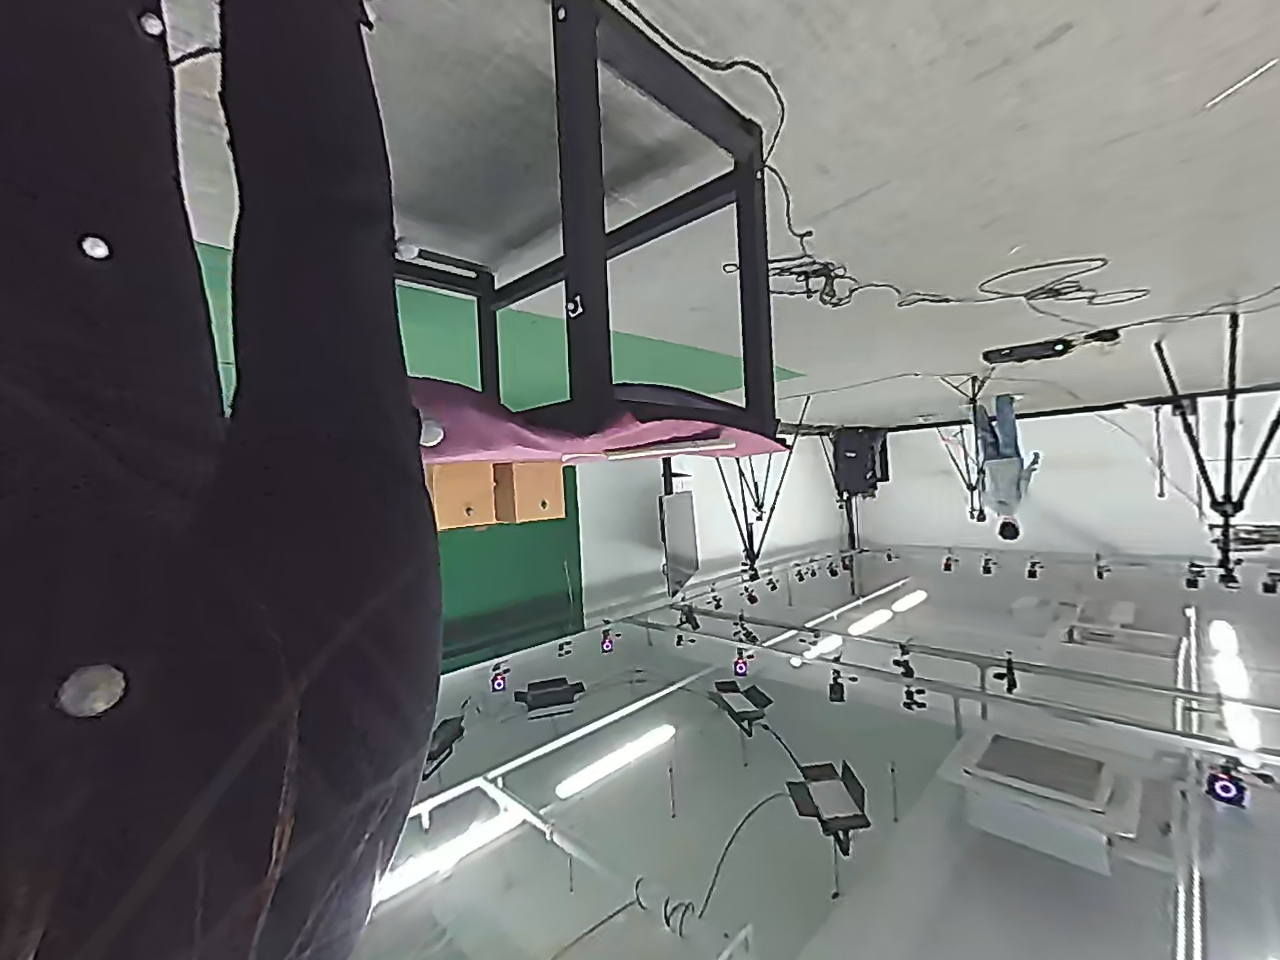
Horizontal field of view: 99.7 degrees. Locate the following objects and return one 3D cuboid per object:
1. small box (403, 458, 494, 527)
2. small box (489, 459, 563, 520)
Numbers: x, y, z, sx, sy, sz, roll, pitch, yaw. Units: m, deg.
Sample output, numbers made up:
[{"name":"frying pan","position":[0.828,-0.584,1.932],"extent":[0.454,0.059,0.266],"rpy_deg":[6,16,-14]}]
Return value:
[{"name":"small box","position":[-0.509,0.032,1.429],"extent":[0.168,0.176,0.179],"rpy_deg":[-3,179,39]},{"name":"small box","position":[-0.344,0.024,1.581],"extent":[0.168,0.176,0.179],"rpy_deg":[-3,180,42]}]
